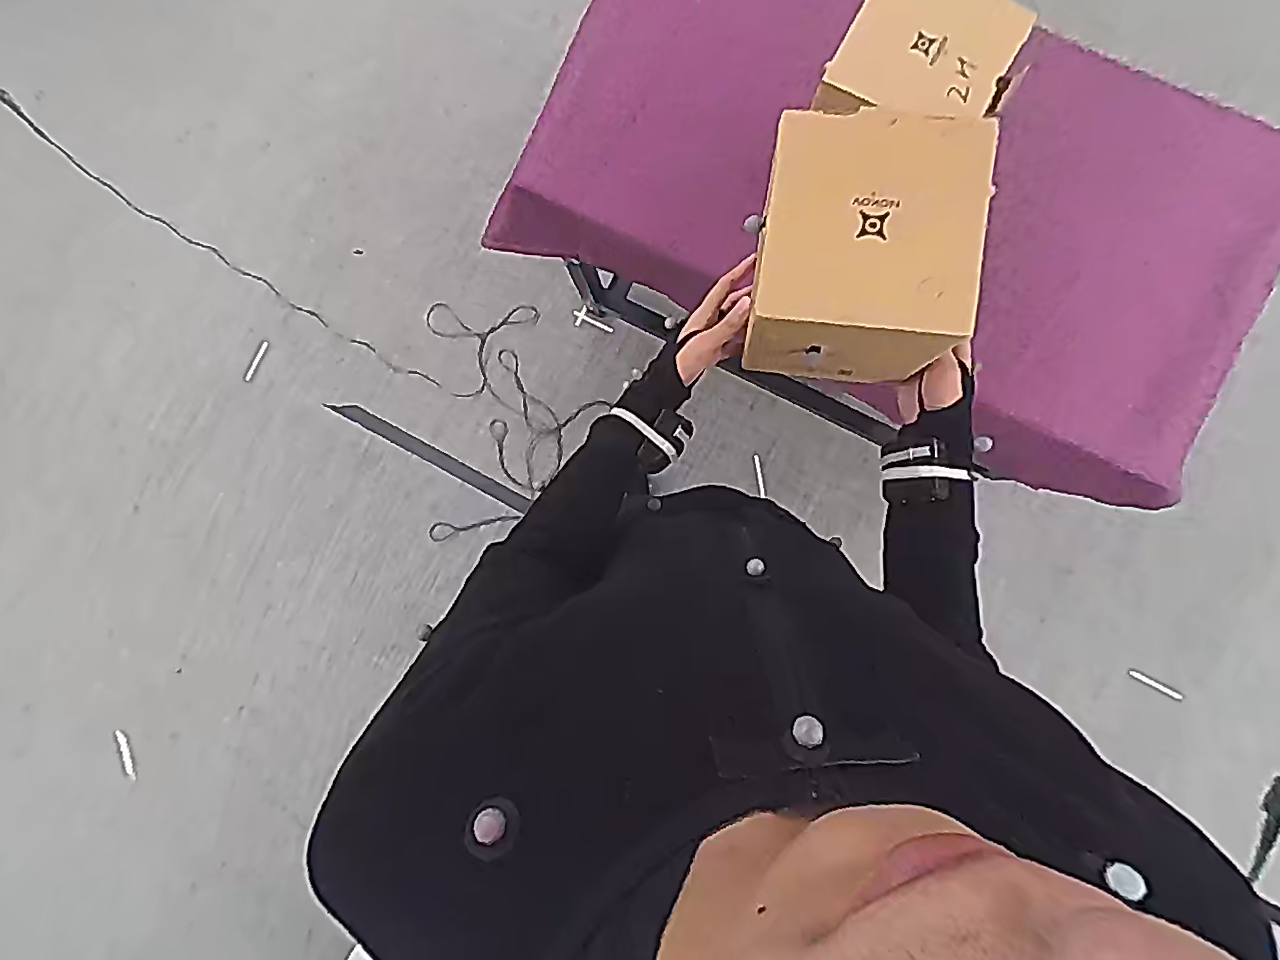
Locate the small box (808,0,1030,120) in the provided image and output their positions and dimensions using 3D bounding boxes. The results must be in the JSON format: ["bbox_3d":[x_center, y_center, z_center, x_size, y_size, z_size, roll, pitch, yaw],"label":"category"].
[{"bbox_3d":[0.313,-0.463,0.668,0.179,0.176,0.168,29,90,3],"label":"small box"}]

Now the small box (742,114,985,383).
[{"bbox_3d":[0.188,-0.199,0.506,0.168,0.176,0.179,8,86,9],"label":"small box"}]
